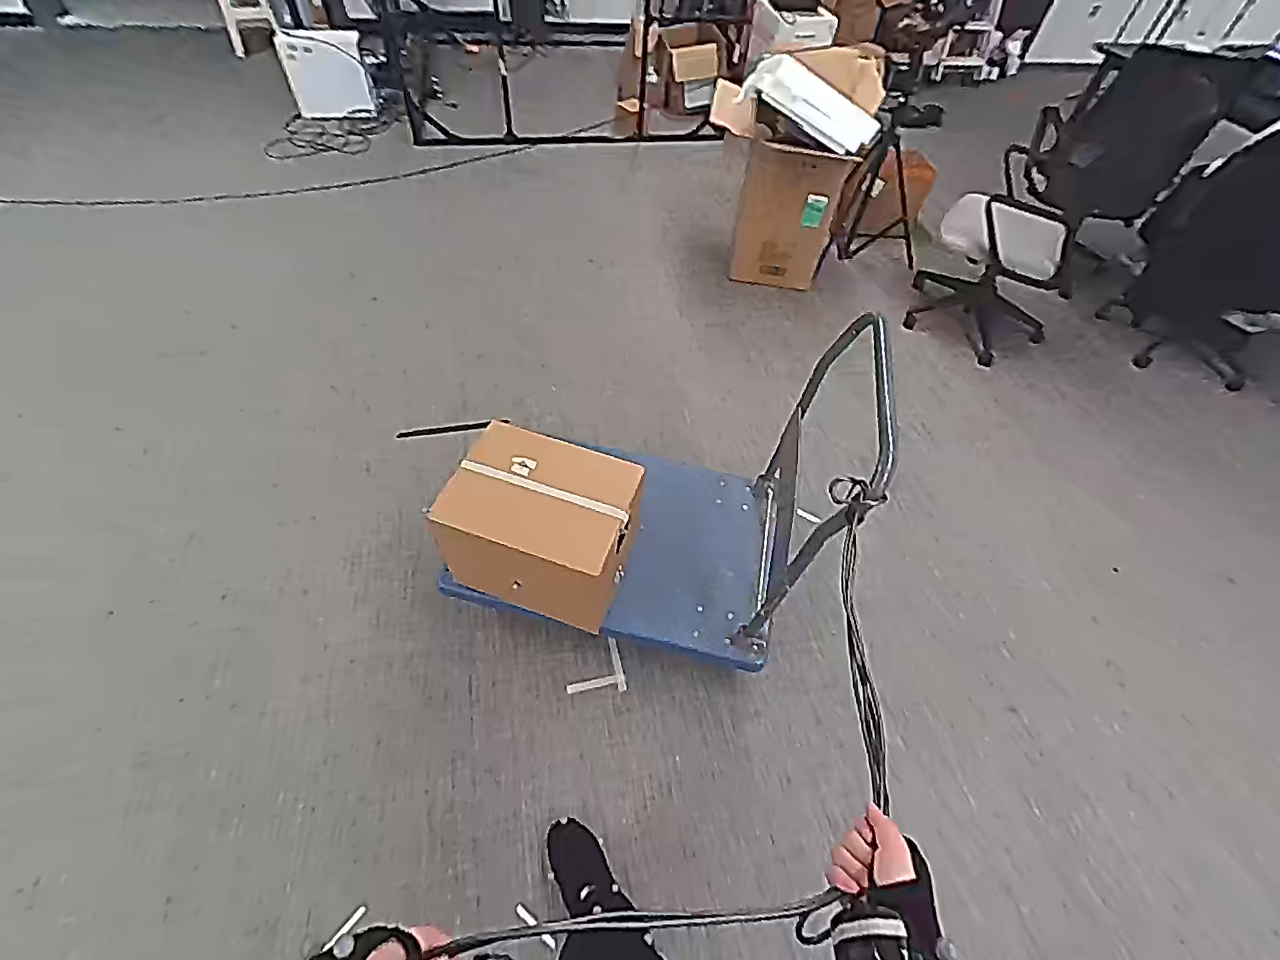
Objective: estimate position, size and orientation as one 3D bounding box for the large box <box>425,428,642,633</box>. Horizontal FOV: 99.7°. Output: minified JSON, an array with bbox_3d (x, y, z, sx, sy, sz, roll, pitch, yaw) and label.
[{"bbox_3d":[-0.233,0.127,1.331,0.408,0.320,0.320,17,52,9],"label":"large box"}]
